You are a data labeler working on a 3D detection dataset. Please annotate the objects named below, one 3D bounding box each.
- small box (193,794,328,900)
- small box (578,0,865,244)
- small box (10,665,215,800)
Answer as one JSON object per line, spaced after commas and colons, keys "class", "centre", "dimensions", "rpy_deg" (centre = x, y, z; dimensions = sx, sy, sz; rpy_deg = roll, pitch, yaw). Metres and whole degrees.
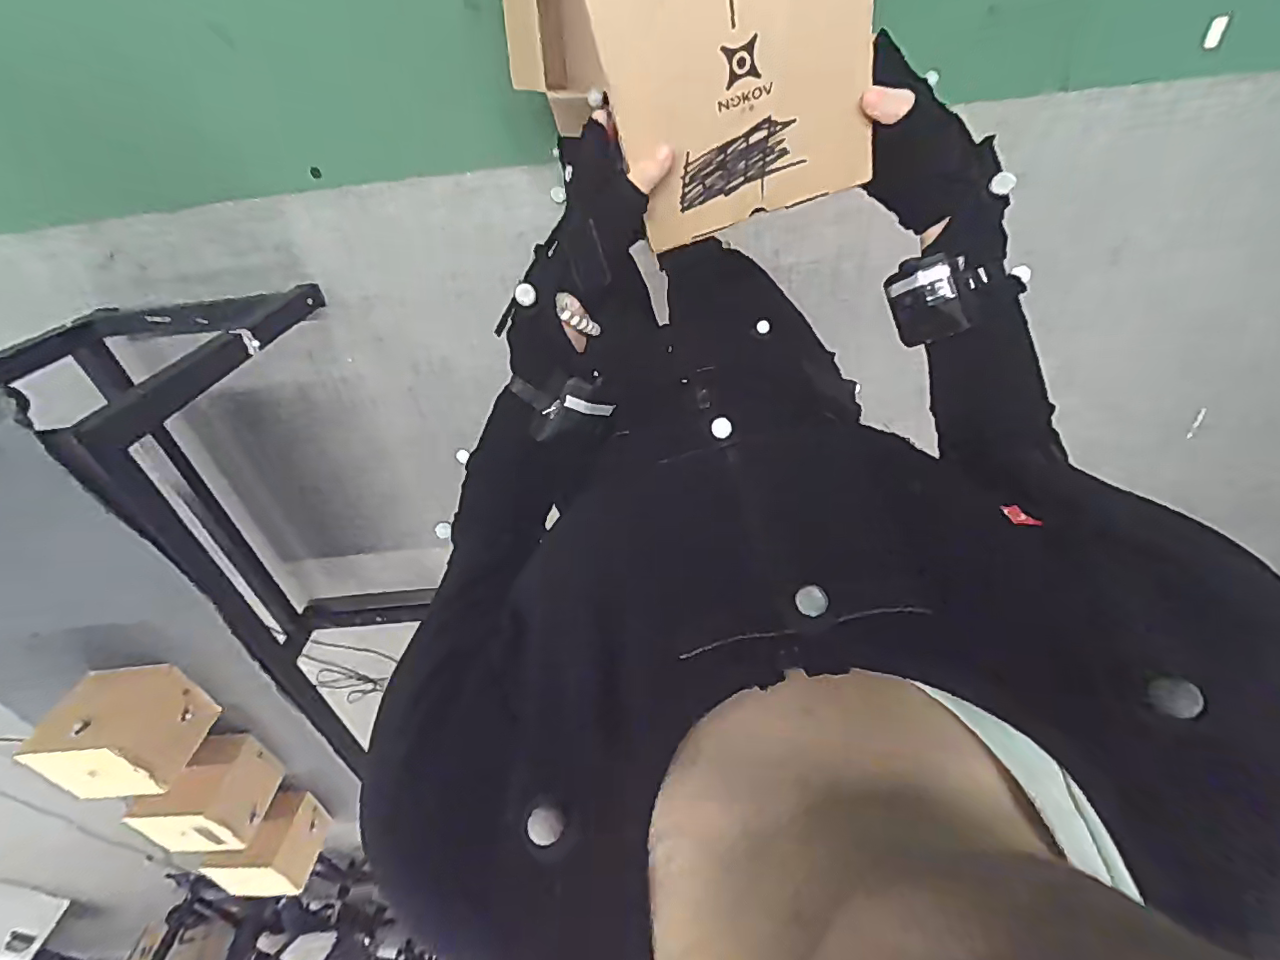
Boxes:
{"class": "small box", "centre": [-0.900, 0.880, 1.303], "dimensions": [0.179, 0.176, 0.168], "rpy_deg": [-2, 126, 2]}
{"class": "small box", "centre": [0.052, -0.310, 0.397], "dimensions": [0.168, 0.176, 0.179], "rpy_deg": [-15, 132, 7]}
{"class": "small box", "centre": [-0.965, 0.469, 1.012], "dimensions": [0.179, 0.176, 0.168], "rpy_deg": [-7, 125, 3]}
